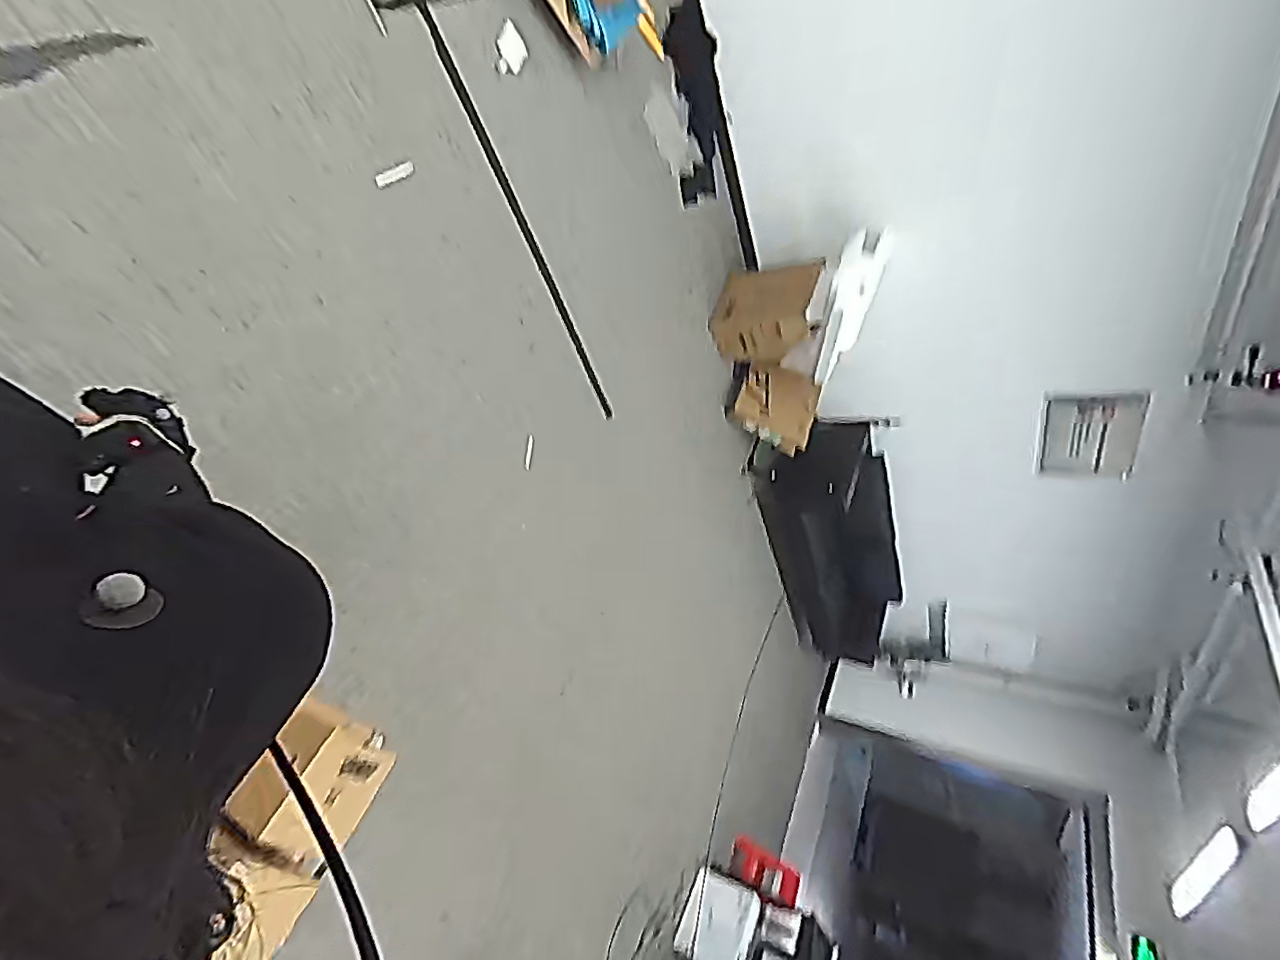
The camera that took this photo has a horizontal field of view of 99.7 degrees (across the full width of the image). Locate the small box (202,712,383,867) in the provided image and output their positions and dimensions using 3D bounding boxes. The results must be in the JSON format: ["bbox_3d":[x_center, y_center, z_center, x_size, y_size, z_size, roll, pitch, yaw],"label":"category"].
[{"bbox_3d":[-0.609,0.537,0.953,0.179,0.176,0.168,-63,142,-33],"label":"small box"}]

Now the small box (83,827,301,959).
[{"bbox_3d":[-0.691,0.679,0.843,0.168,0.176,0.179,-58,140,-34],"label":"small box"}]
